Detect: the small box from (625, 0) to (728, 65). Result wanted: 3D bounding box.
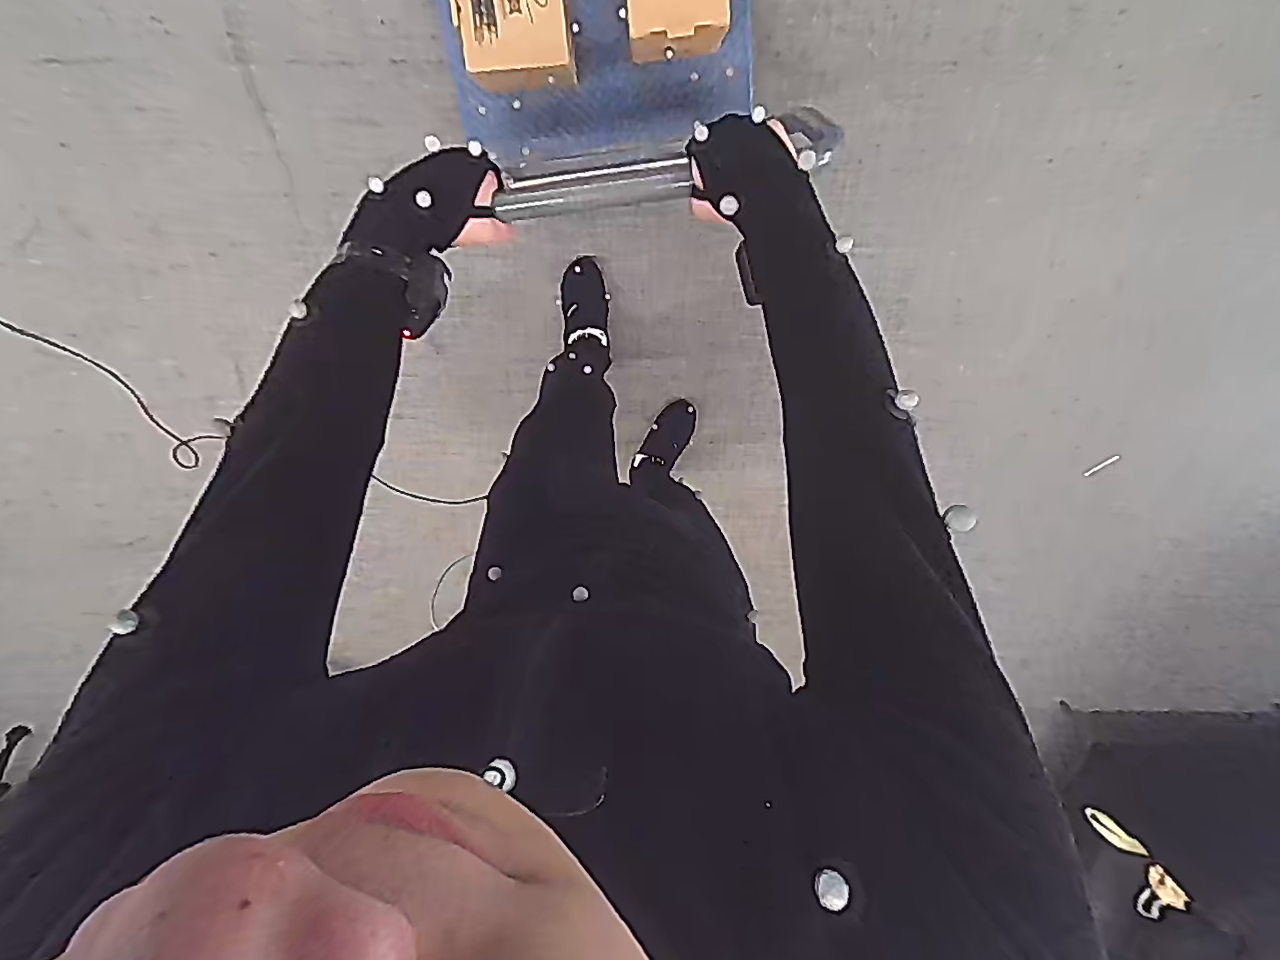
[{"bbox_3d":[0.057,-0.855,0.938,0.168,0.176,0.179,-6,117,3],"label":"small box"}]
